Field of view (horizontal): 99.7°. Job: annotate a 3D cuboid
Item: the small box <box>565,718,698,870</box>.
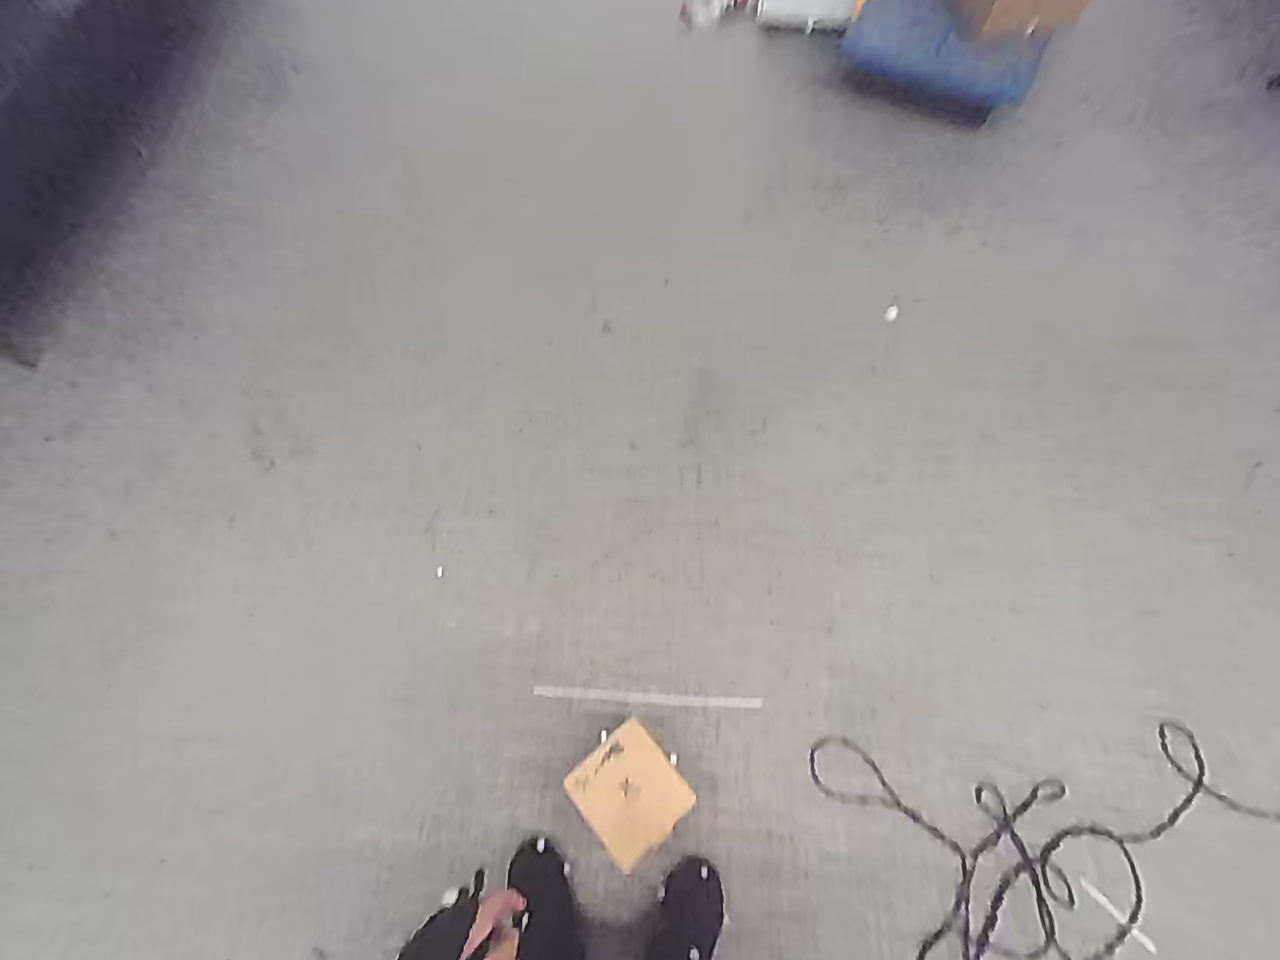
[{"bbox_3d":[-0.012,0.562,0.999,0.168,0.176,0.179,-39,70,-13],"label":"small box"}]
